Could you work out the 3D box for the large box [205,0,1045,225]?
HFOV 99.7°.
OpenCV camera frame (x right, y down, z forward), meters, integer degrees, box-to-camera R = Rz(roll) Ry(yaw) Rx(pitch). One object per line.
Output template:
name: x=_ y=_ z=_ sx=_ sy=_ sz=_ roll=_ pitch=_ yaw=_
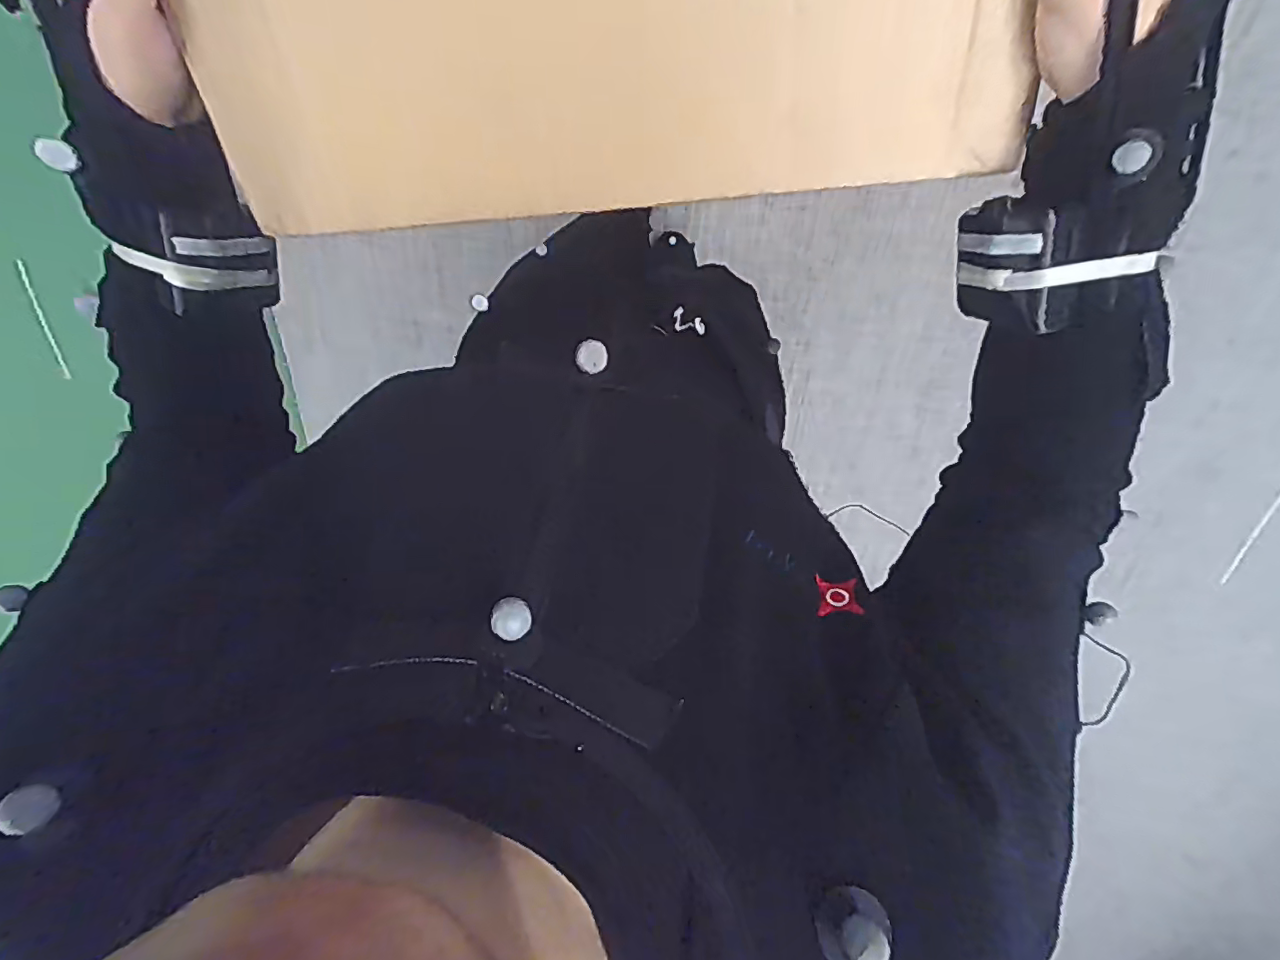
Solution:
large box: x=-0.014 y=-0.369 z=0.343 sx=0.408 sy=0.320 sz=0.320 roll=-4 pitch=122 yaw=4
